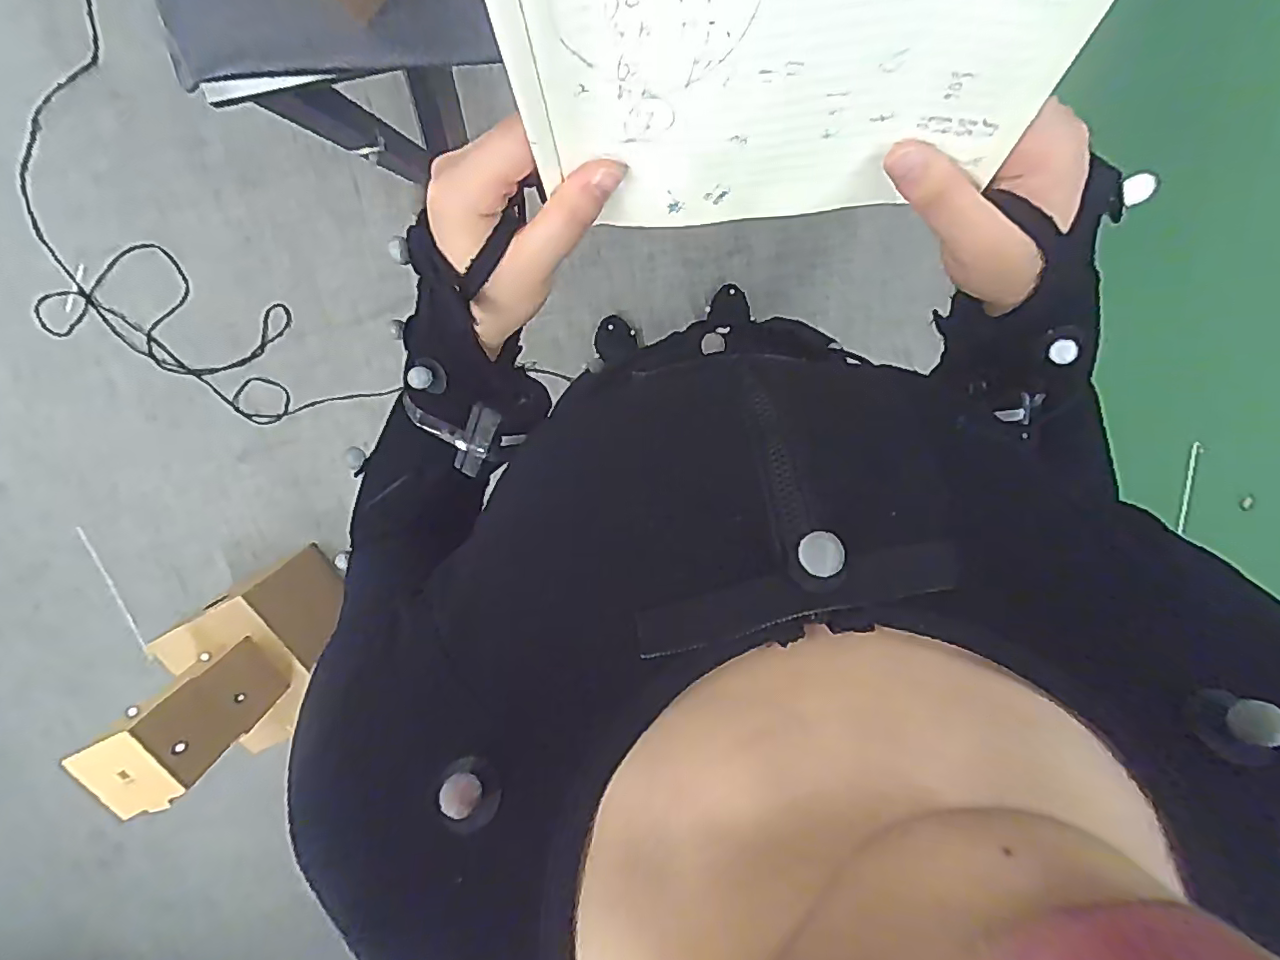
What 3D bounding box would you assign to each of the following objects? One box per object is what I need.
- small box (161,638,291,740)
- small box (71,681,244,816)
[{"bbox_3d":[-1.000,0.518,1.304,0.168,0.176,0.179,-26,105,8],"label":"small box"},{"bbox_3d":[-1.007,0.556,1.146,0.168,0.176,0.179,-26,106,7],"label":"small box"}]
